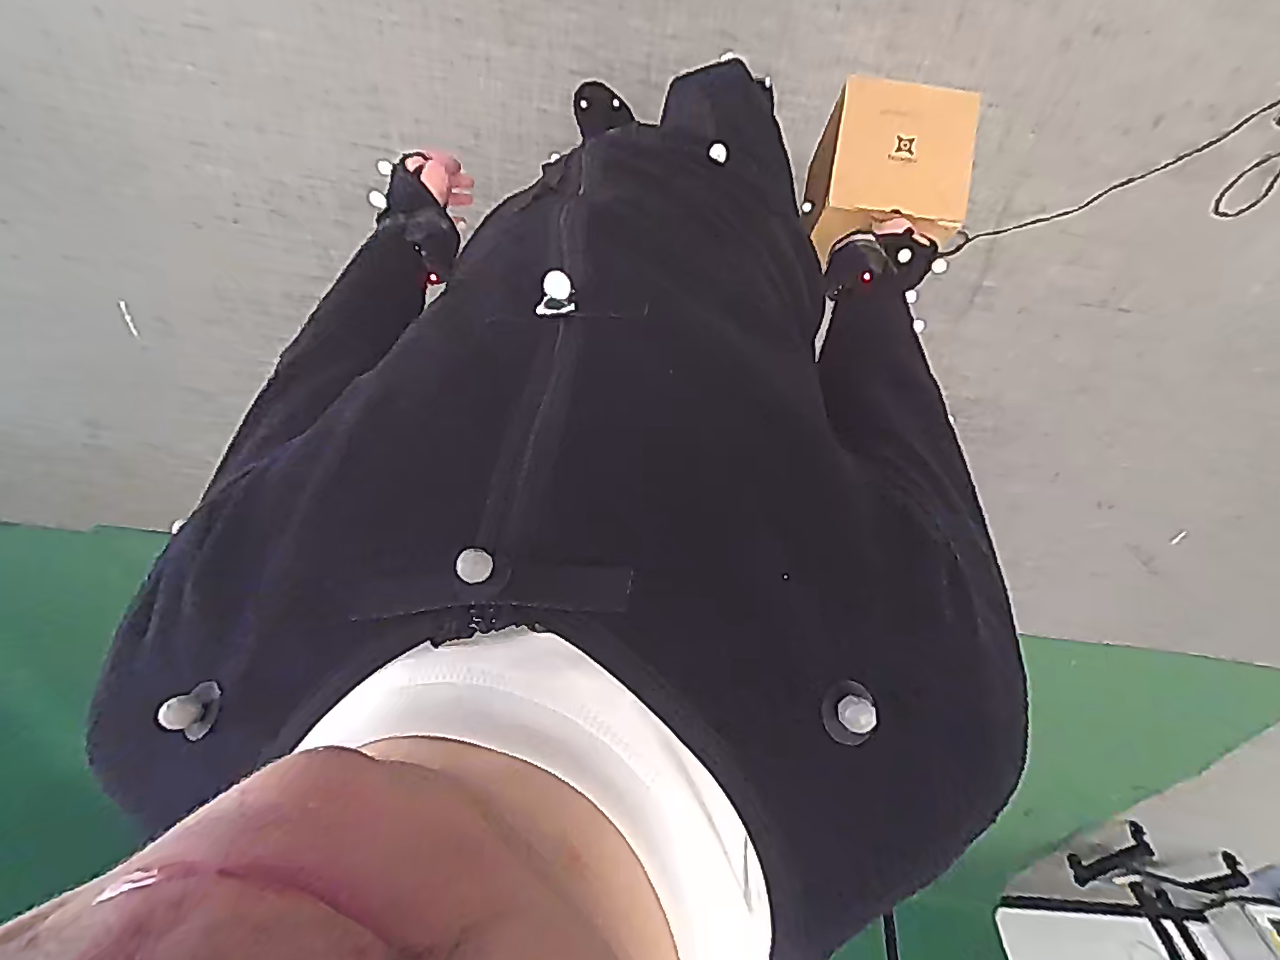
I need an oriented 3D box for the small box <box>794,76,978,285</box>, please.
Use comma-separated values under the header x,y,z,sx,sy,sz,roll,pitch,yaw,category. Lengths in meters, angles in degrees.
x,y,z,sx,sy,sz,roll,pitch,yaw,category
0.316,-0.387,0.728,0.168,0.176,0.179,10,83,2,small box
